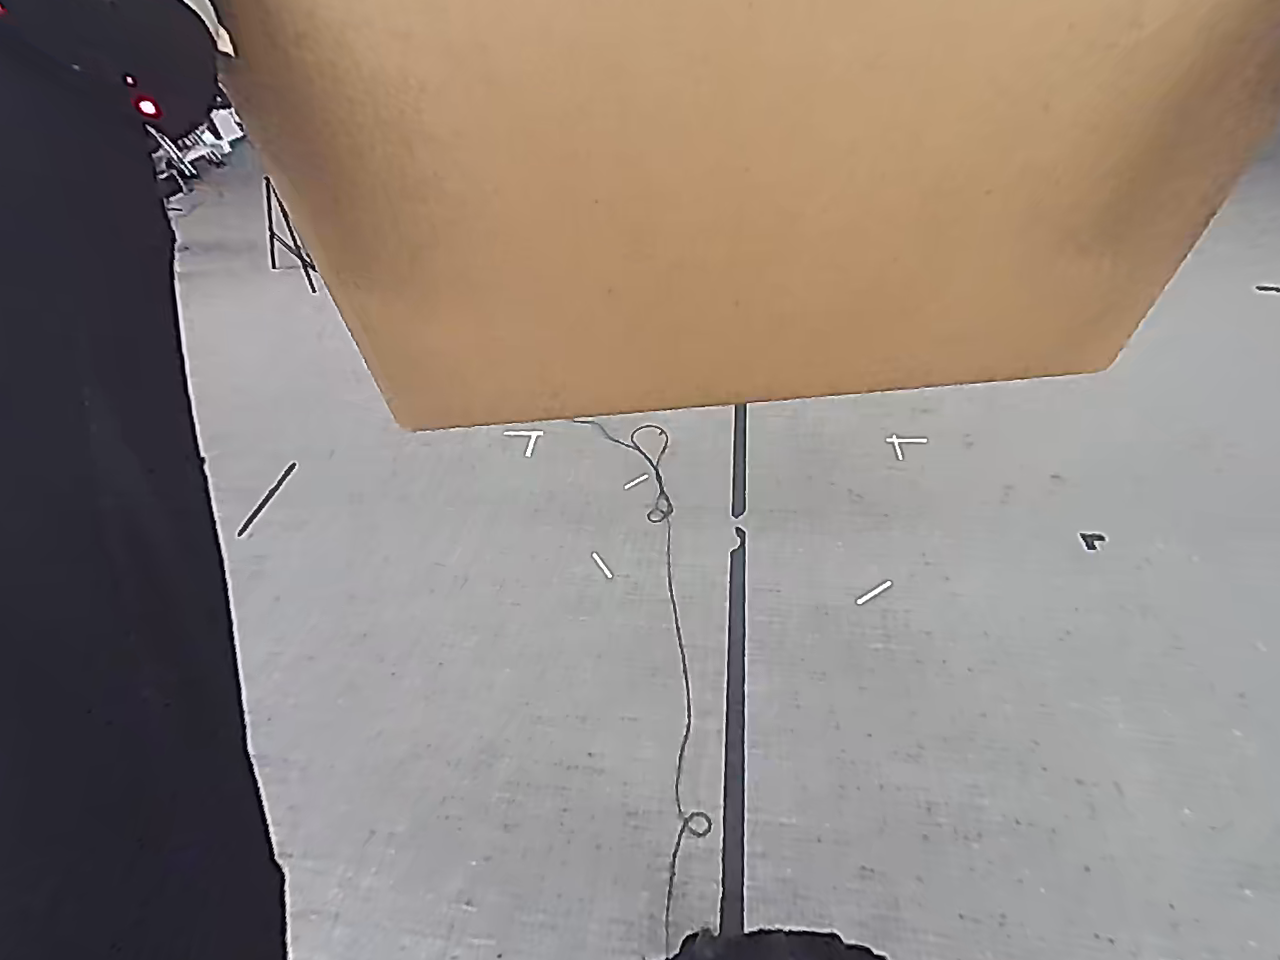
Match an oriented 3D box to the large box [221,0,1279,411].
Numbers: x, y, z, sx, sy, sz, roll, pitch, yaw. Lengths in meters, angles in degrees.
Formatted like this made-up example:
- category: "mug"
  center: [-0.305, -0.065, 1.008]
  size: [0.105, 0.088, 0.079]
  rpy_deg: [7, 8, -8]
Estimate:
- category: "large box"
  center: [0.044, -0.264, 0.305]
  size: [0.408, 0.320, 0.320]
  rpy_deg: [-5, 47, -1]
